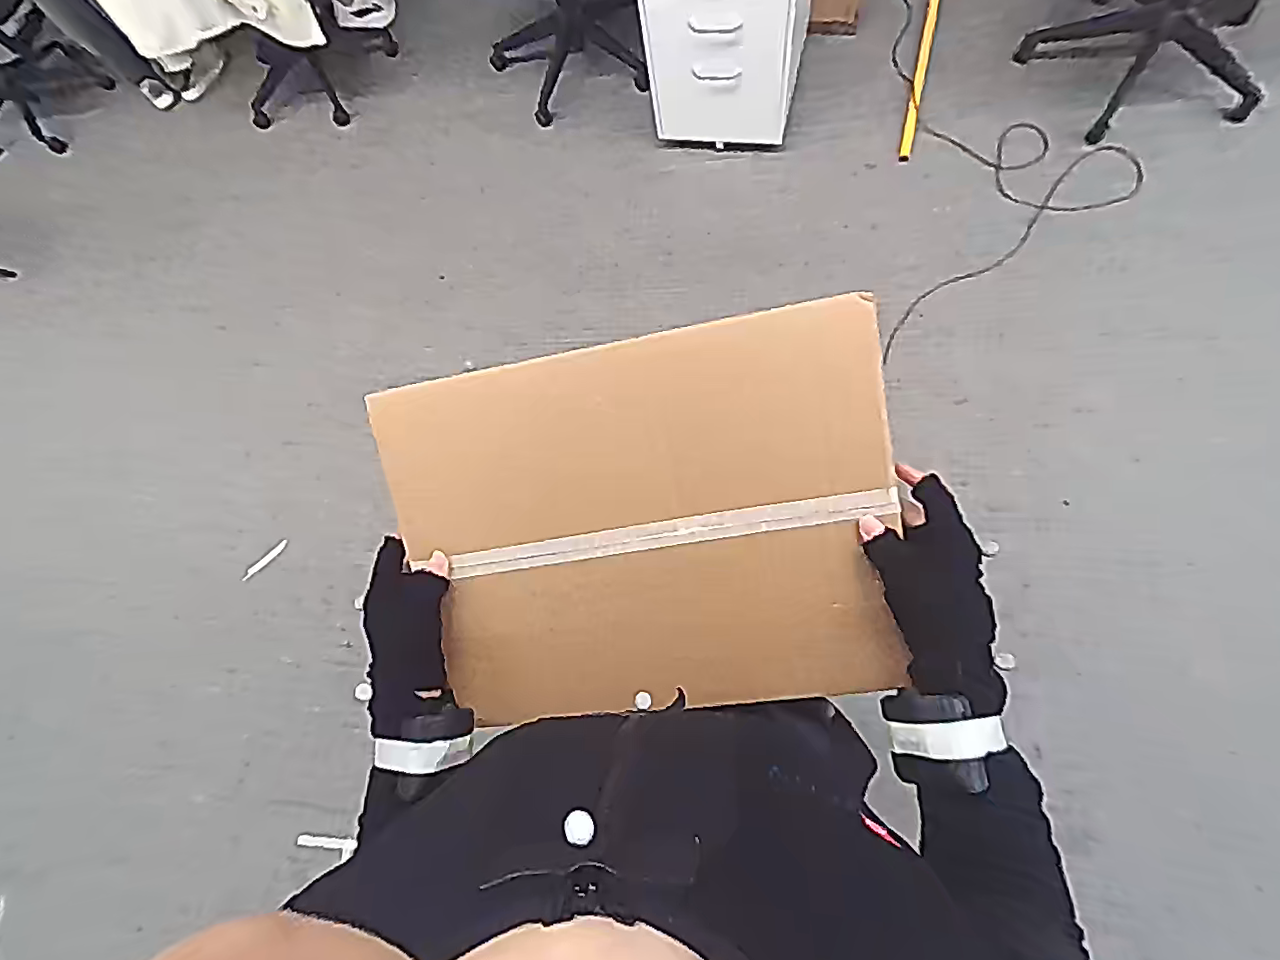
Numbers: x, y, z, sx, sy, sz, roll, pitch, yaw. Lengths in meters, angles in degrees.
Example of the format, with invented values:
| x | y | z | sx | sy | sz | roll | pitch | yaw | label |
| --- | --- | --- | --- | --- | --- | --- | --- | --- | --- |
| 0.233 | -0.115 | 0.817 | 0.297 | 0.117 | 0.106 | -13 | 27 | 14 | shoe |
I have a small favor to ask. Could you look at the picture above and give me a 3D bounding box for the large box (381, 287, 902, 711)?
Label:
| x | y | z | sx | sy | sz | roll | pitch | yaw | label |
| --- | --- | --- | --- | --- | --- | --- | --- | --- | --- |
| 0.015 | 0.010 | 0.601 | 0.408 | 0.320 | 0.320 | -10 | 101 | 9 | large box |
